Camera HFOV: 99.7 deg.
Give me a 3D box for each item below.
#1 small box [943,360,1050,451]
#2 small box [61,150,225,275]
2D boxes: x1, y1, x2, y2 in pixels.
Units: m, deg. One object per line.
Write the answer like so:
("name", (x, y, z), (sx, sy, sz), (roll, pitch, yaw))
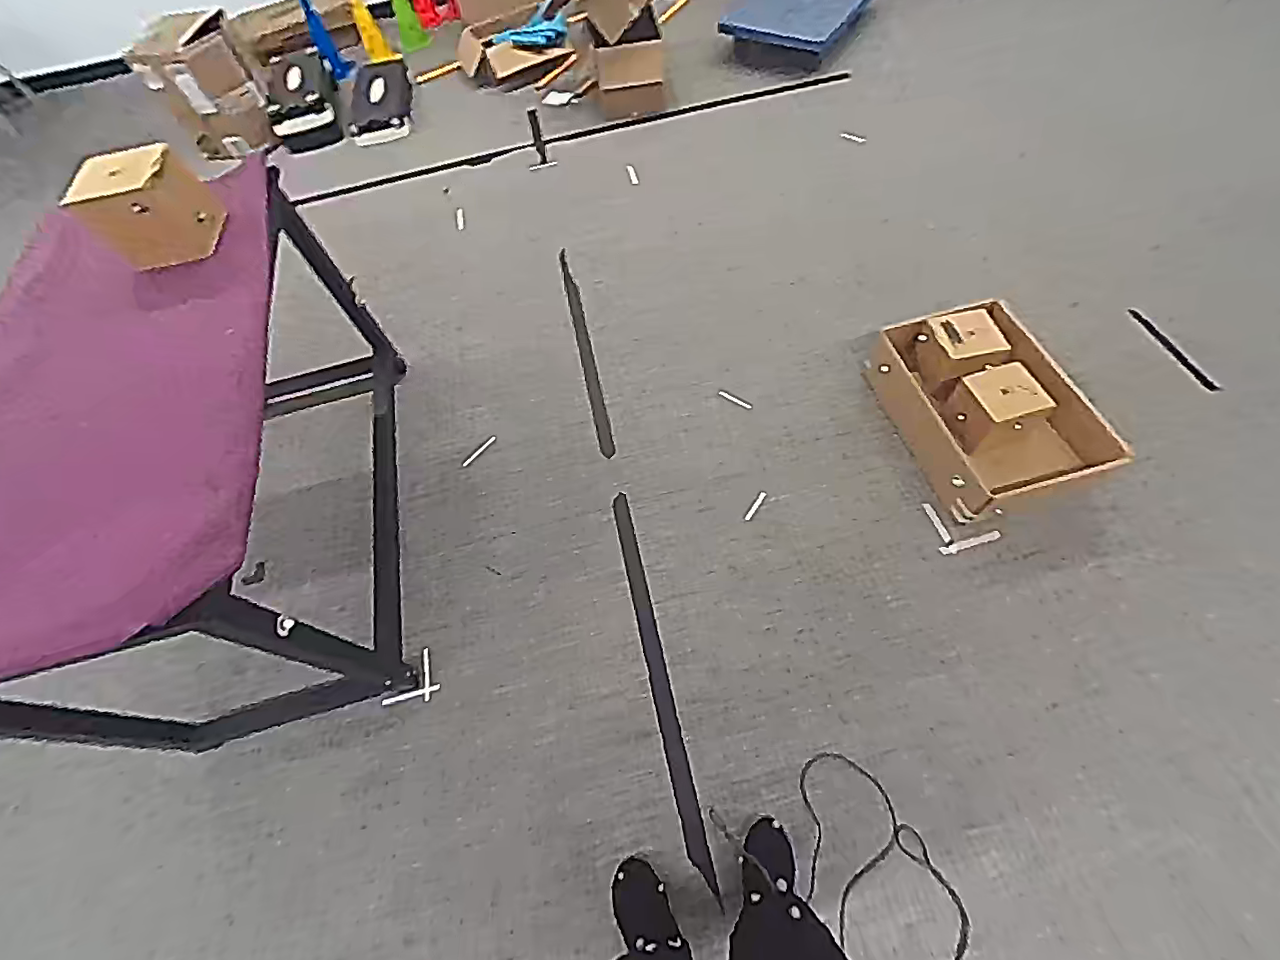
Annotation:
("small box", (0.997, -0.206, 1.539), (0.179, 0.176, 0.168), (-16, 60, -3))
("small box", (-1.068, -0.575, 1.179), (0.179, 0.176, 0.168), (-12, 60, 1))
